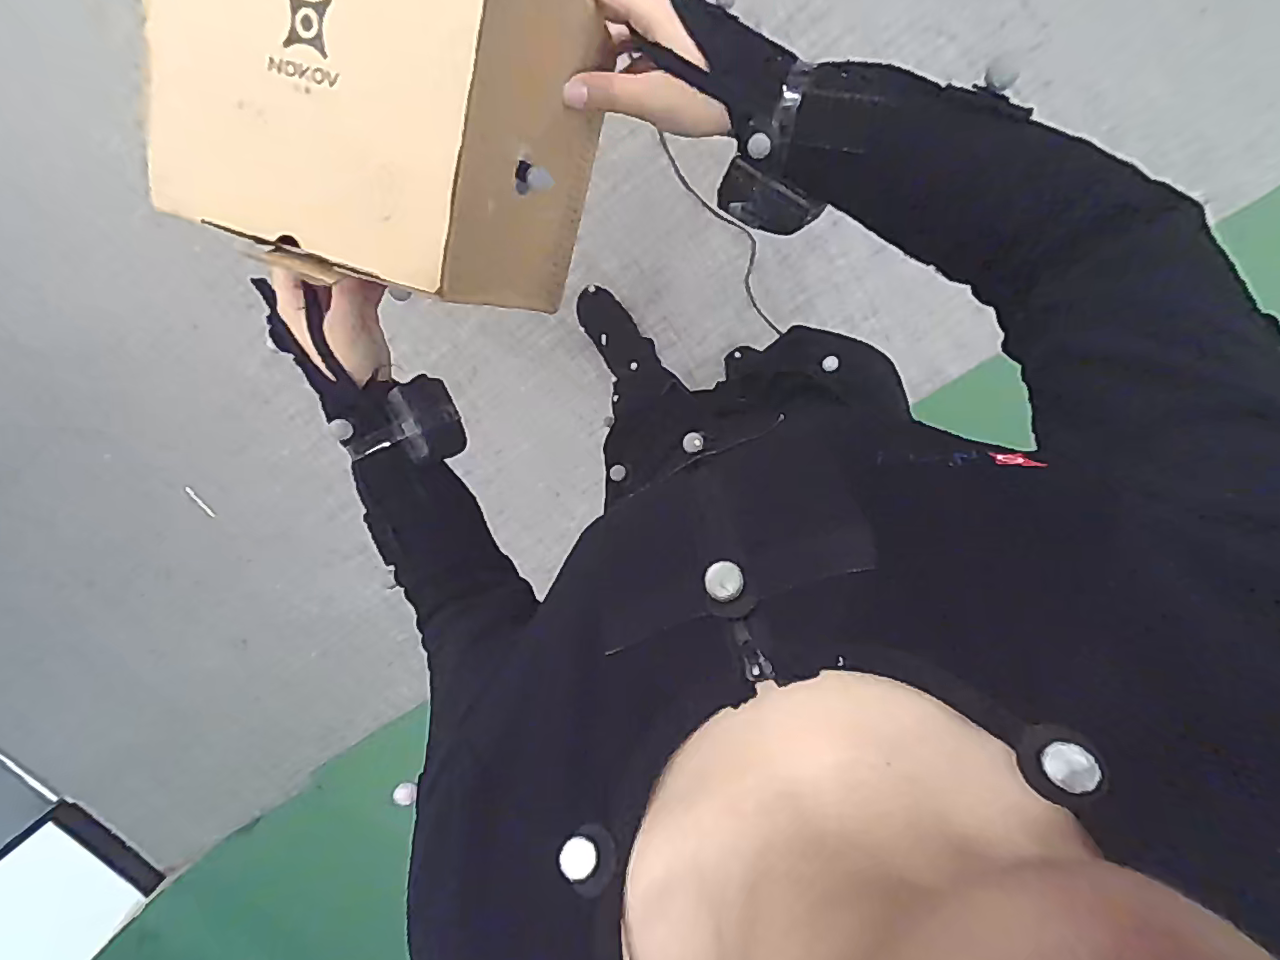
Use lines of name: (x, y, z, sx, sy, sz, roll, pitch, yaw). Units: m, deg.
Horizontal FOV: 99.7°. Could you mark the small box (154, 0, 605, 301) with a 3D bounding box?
small box: (-0.132, -0.214, 0.320, 0.168, 0.176, 0.179, 19, 108, 6)
